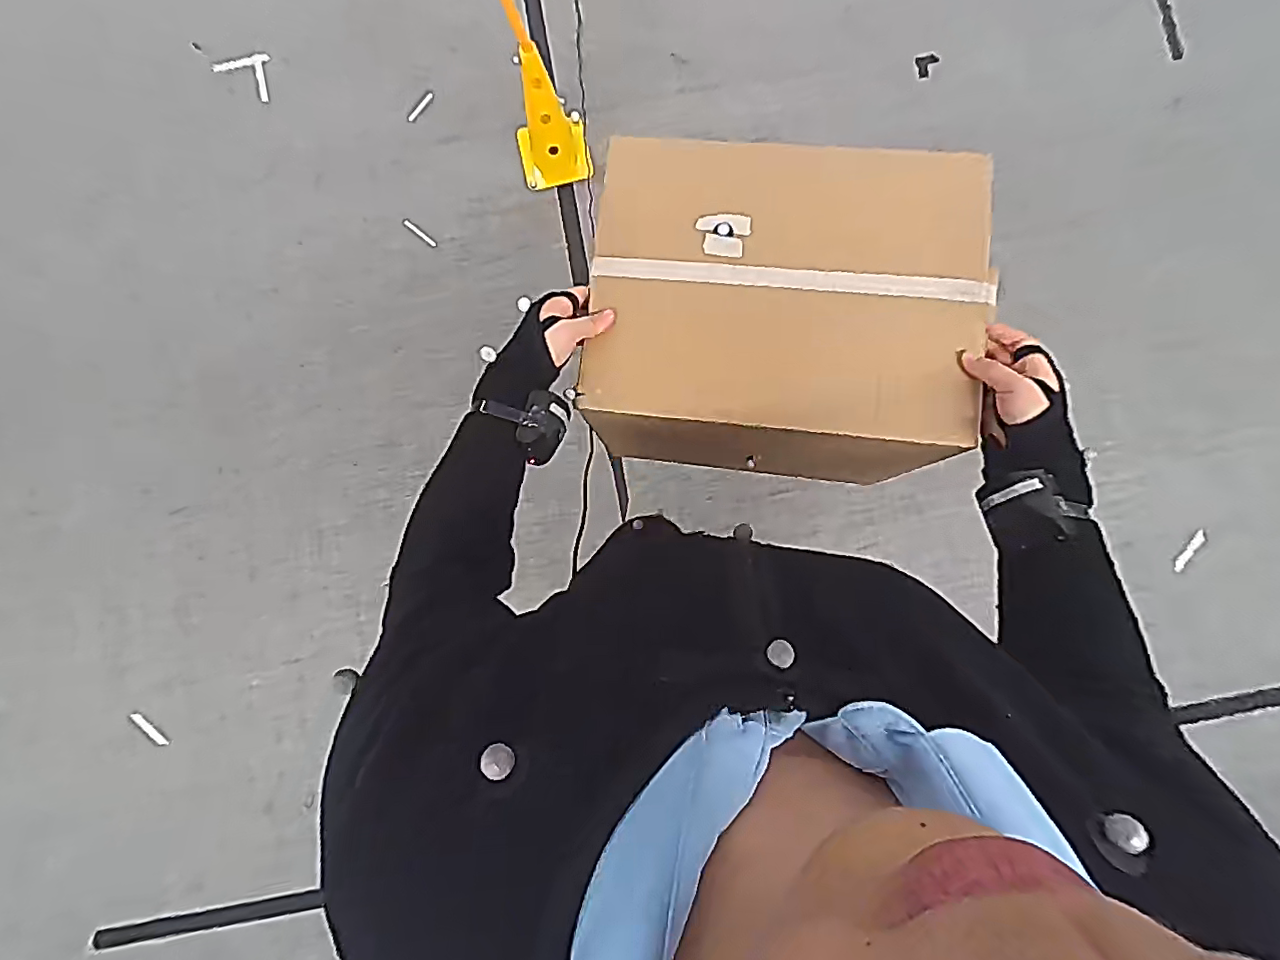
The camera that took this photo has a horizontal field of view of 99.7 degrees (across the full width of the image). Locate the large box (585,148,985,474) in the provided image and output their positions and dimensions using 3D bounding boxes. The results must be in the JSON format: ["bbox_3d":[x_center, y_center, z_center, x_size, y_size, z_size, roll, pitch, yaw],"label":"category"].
[{"bbox_3d":[0.170,-0.191,0.719,0.408,0.320,0.320,6,82,7],"label":"large box"}]
